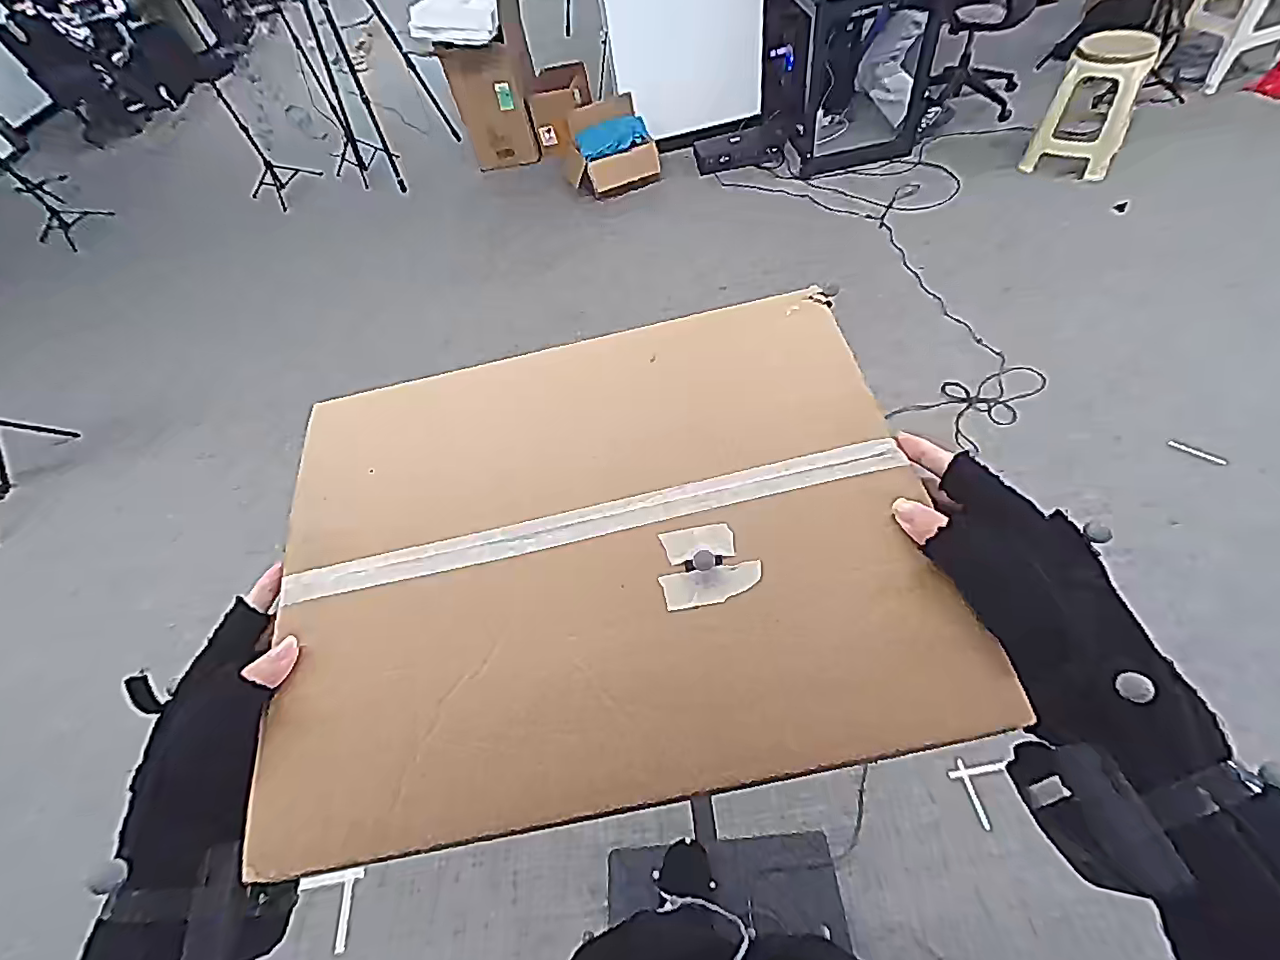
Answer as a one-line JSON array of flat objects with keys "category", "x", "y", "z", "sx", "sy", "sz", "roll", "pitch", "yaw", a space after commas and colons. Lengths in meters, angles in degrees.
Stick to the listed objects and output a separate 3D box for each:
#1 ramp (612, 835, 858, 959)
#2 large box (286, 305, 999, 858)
[{"category": "ramp", "x": 0.193, "y": 1.163, "z": 0.857, "sx": 0.509, "sy": 0.206, "sz": 0.991, "roll": -11, "pitch": 52, "yaw": 5}, {"category": "large box", "x": -0.009, "y": 0.103, "z": 0.491, "sx": 0.408, "sy": 0.320, "sz": 0.320, "roll": -13, "pitch": 61, "yaw": 1}]
